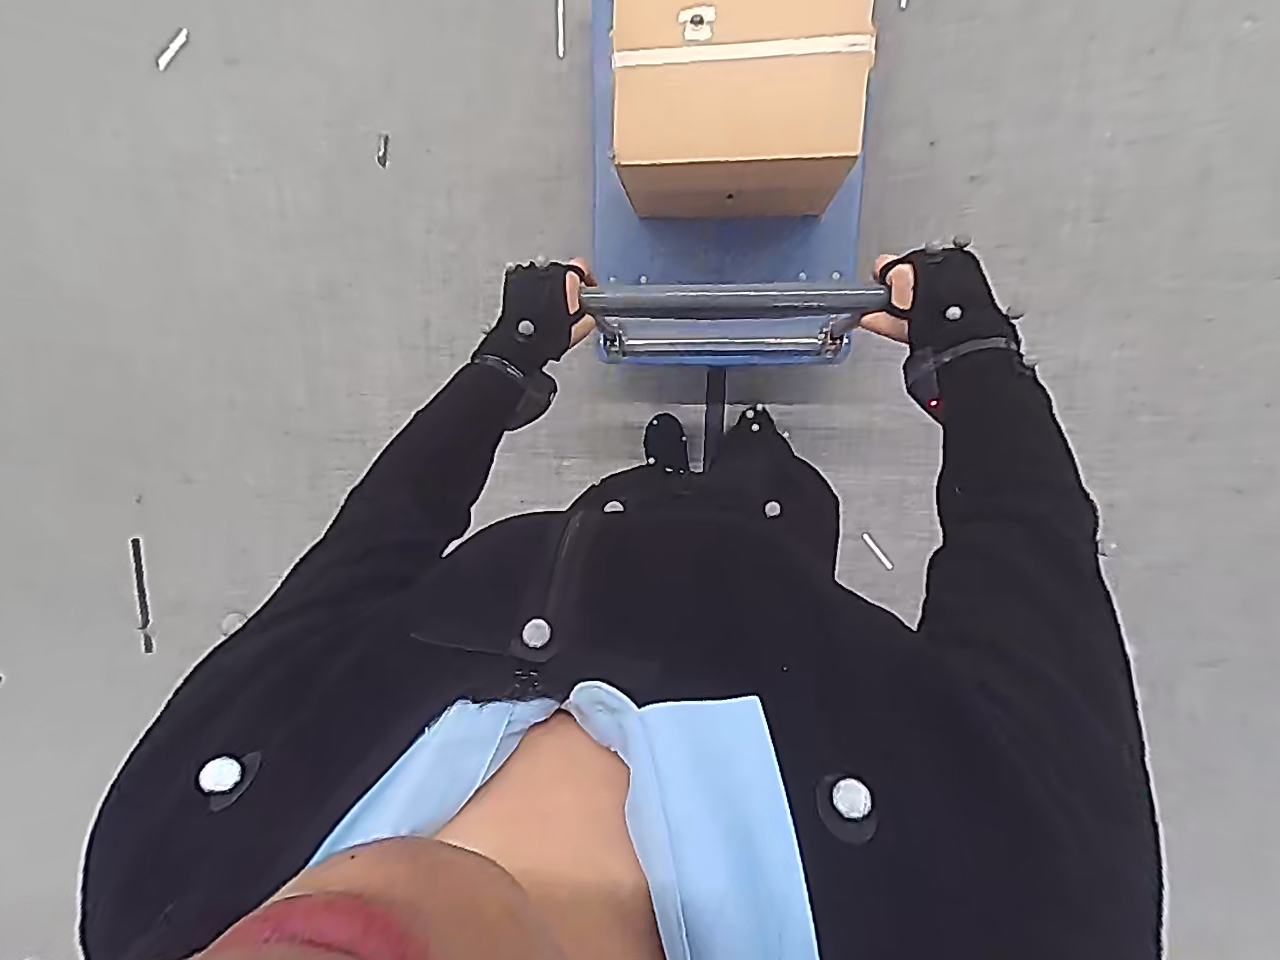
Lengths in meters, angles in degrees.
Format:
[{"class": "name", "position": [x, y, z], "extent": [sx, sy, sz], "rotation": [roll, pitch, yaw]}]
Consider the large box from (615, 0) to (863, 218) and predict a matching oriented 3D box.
[{"class": "large box", "position": [0.177, -0.713, 1.031], "extent": [0.408, 0.320, 0.320], "rotation": [2, 99, 8]}]
